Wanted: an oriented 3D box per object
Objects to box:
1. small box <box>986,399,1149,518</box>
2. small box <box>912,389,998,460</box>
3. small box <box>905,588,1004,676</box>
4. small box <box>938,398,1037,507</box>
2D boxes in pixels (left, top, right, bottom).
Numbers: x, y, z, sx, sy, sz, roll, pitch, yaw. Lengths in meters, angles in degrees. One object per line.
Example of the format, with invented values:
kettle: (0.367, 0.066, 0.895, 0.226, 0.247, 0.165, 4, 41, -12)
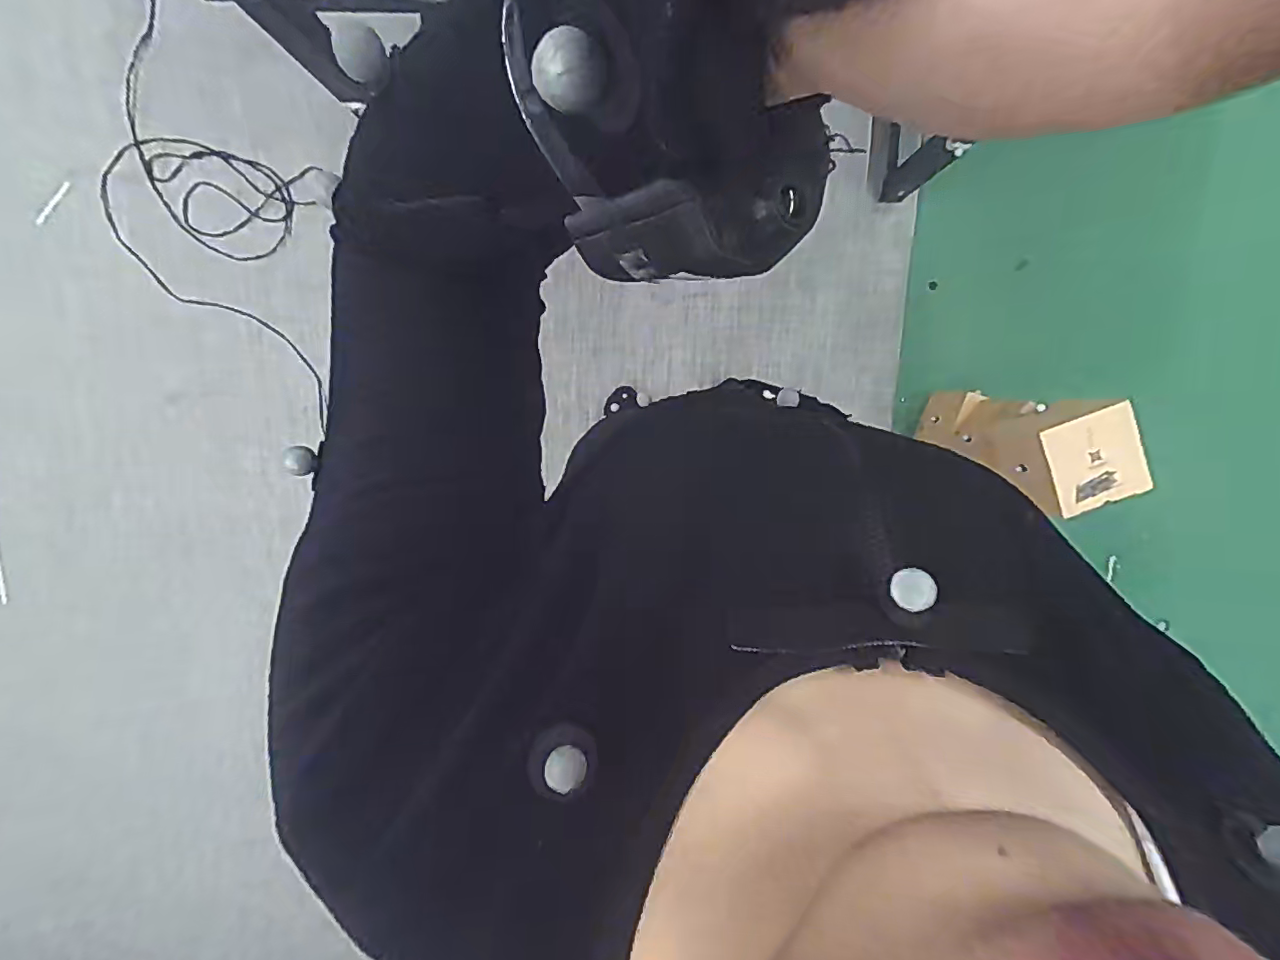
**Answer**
small box: (0.819, -0.049, 1.052, 0.168, 0.176, 0.179, -21, 98, 5)
small box: (0.829, -0.125, 1.370, 0.179, 0.176, 0.168, 18, 100, -3)
small box: (0.843, 0.403, 1.458, 0.179, 0.176, 0.168, -7, 100, 1)
small box: (0.821, -0.068, 1.215, 0.179, 0.176, 0.168, 38, 99, -6)
